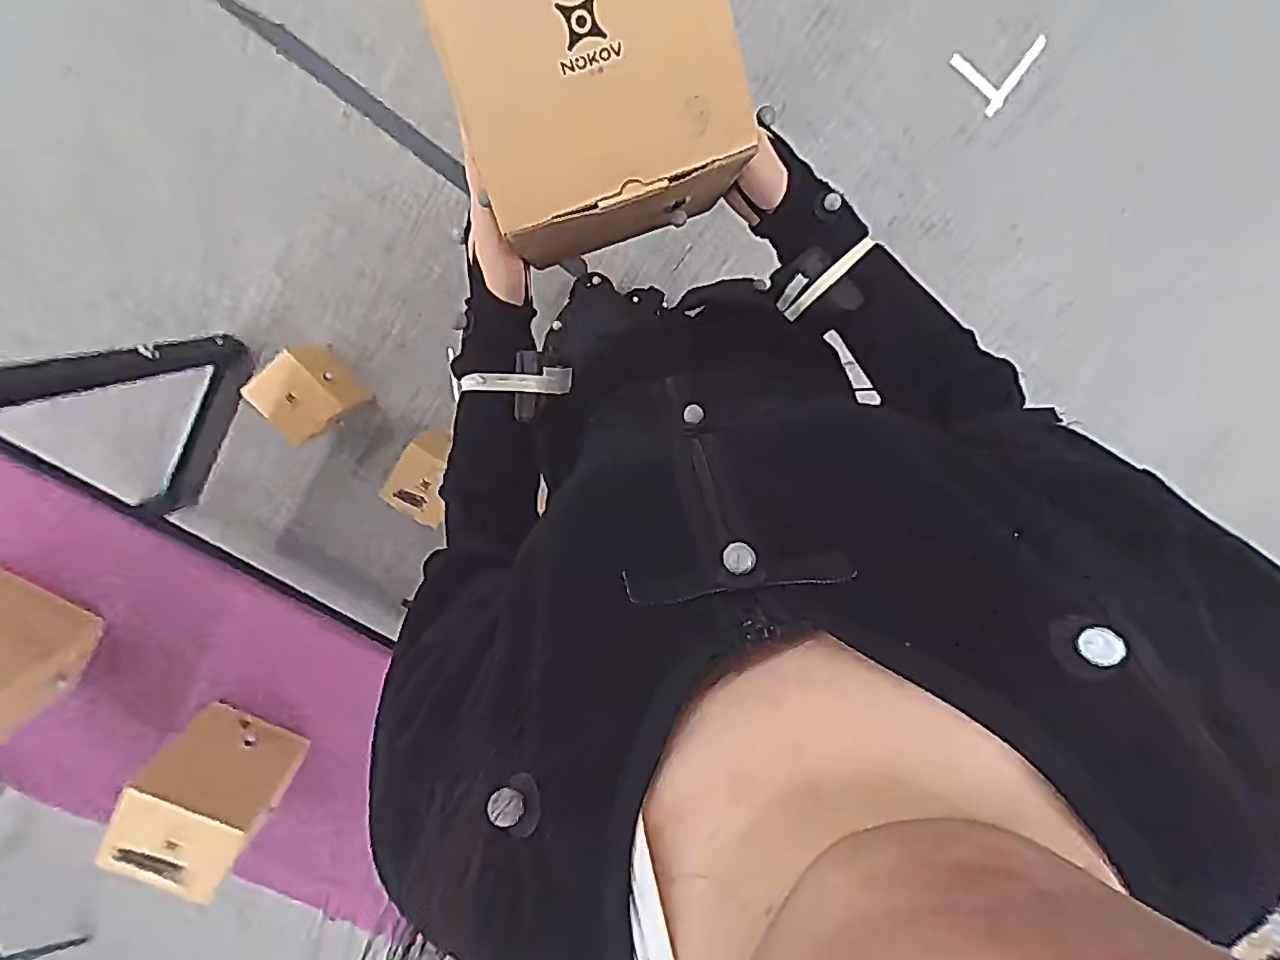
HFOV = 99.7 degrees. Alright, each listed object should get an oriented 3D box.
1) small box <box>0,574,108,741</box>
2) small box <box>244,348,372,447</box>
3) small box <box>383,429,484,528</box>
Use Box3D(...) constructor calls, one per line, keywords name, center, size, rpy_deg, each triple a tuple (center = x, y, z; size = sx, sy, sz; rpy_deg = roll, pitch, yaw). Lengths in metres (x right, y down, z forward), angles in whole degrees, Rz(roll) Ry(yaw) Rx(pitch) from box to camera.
Box3D(name="small box", center=(-0.918, 0.256, 0.746), size=(0.179, 0.176, 0.168), rpy_deg=(35, 107, -13))
Box3D(name="small box", center=(-0.819, -0.215, 1.353), size=(0.168, 0.176, 0.179), rpy_deg=(-36, 108, 11))
Box3D(name="small box", center=(-0.537, -0.009, 1.430), size=(0.168, 0.176, 0.179), rpy_deg=(33, 106, -12))
